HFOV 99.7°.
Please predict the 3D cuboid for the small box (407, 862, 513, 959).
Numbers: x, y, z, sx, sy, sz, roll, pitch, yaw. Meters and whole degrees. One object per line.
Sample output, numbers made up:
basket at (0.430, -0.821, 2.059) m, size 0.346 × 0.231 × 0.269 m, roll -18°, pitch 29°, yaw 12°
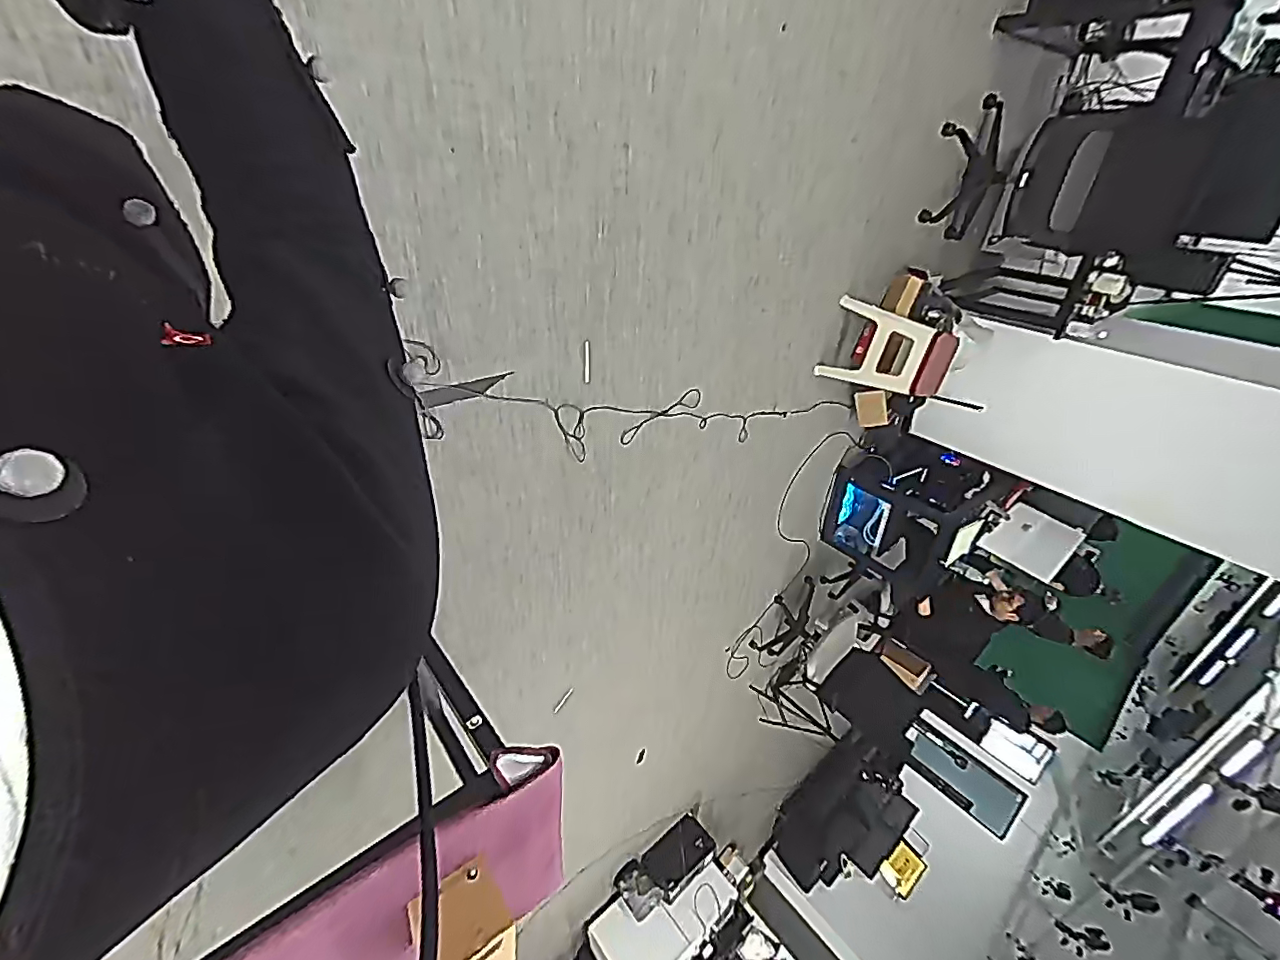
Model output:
small box at (-0.387, 0.972, 1.158) m, size 0.168 × 0.176 × 0.179 m, roll -16°, pitch 126°, yaw -38°
